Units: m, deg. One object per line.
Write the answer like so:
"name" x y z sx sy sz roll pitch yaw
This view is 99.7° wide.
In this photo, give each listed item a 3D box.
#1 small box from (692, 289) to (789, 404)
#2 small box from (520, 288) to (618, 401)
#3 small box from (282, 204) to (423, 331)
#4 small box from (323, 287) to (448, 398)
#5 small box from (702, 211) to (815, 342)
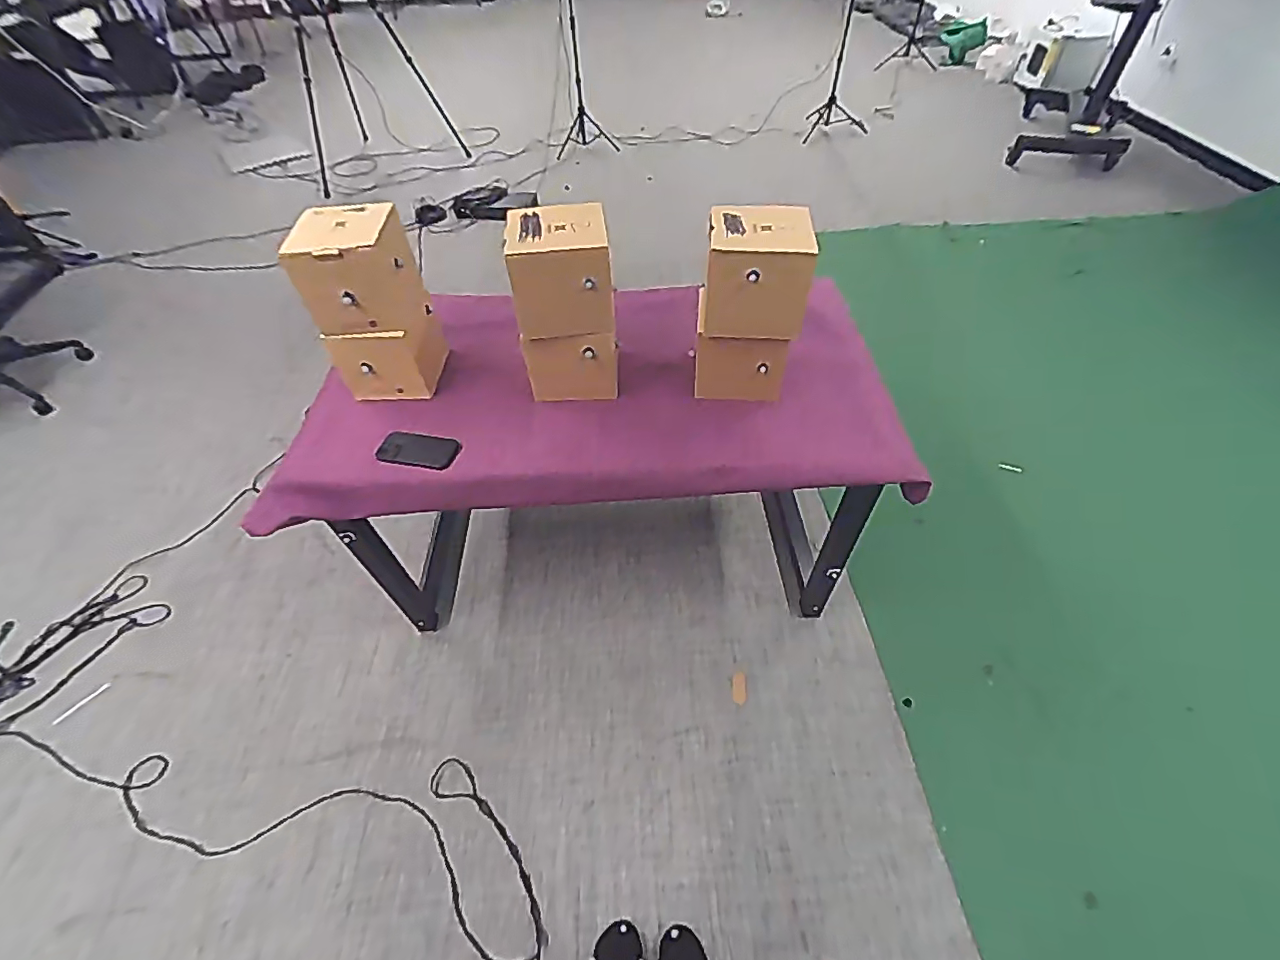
"small box" 0.202 -0.274 1.116 0.179 0.176 0.168 4 50 6
"small box" -0.139 -0.280 1.132 0.179 0.176 0.168 -1 50 2
"small box" -0.534 -0.400 1.034 0.168 0.176 0.179 -4 51 -2
"small box" -0.529 -0.289 1.156 0.168 0.176 0.179 0 50 2
"small box" 0.205 -0.366 0.980 0.179 0.176 0.168 4 50 5
